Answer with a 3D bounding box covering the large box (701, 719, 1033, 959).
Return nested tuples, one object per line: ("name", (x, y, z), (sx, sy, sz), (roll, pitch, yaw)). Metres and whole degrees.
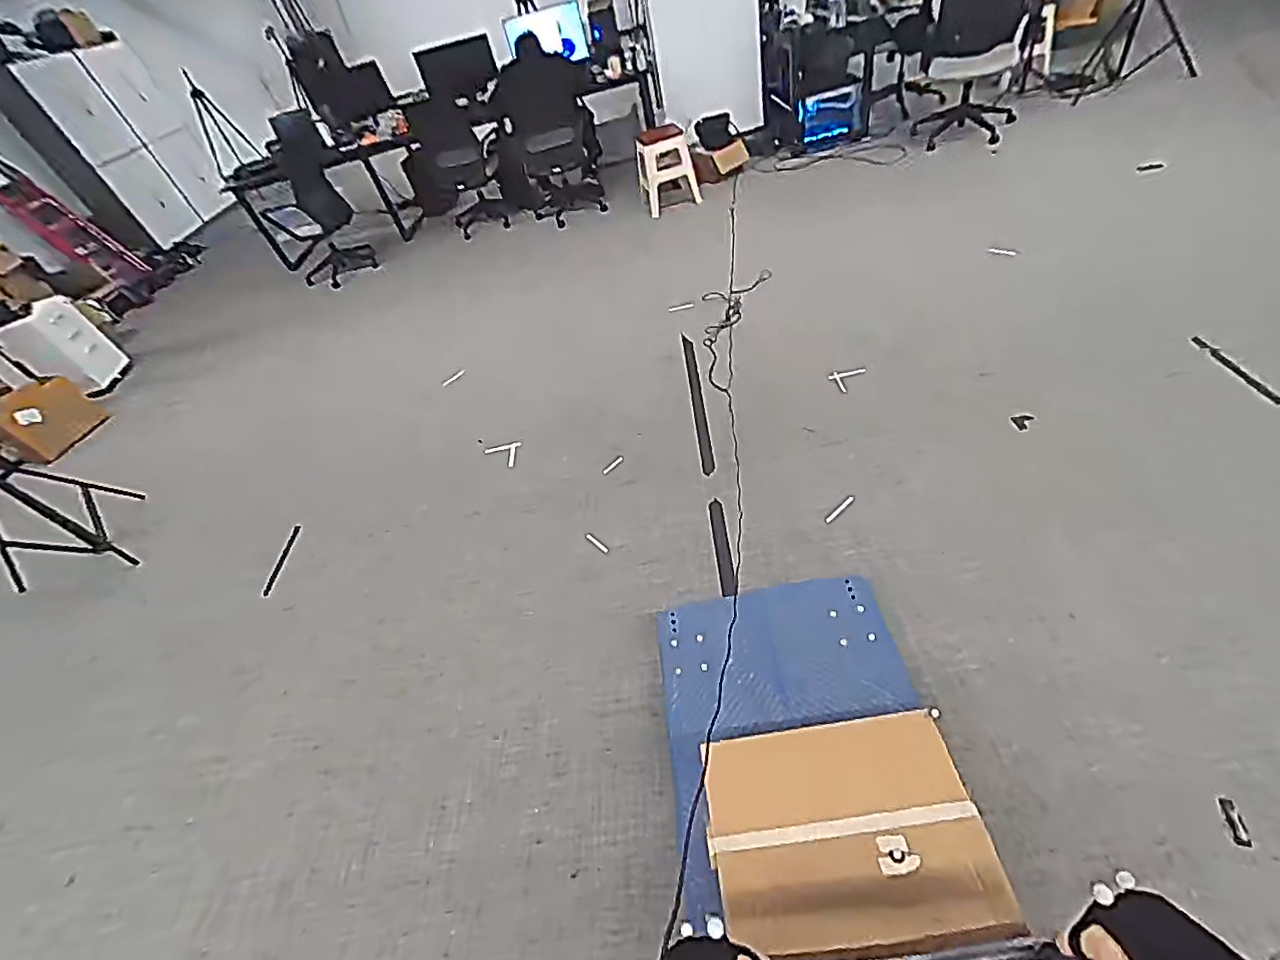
("large box", (0.341, 0.658, 0.930), (0.408, 0.320, 0.320), (-12, 44, 5))
